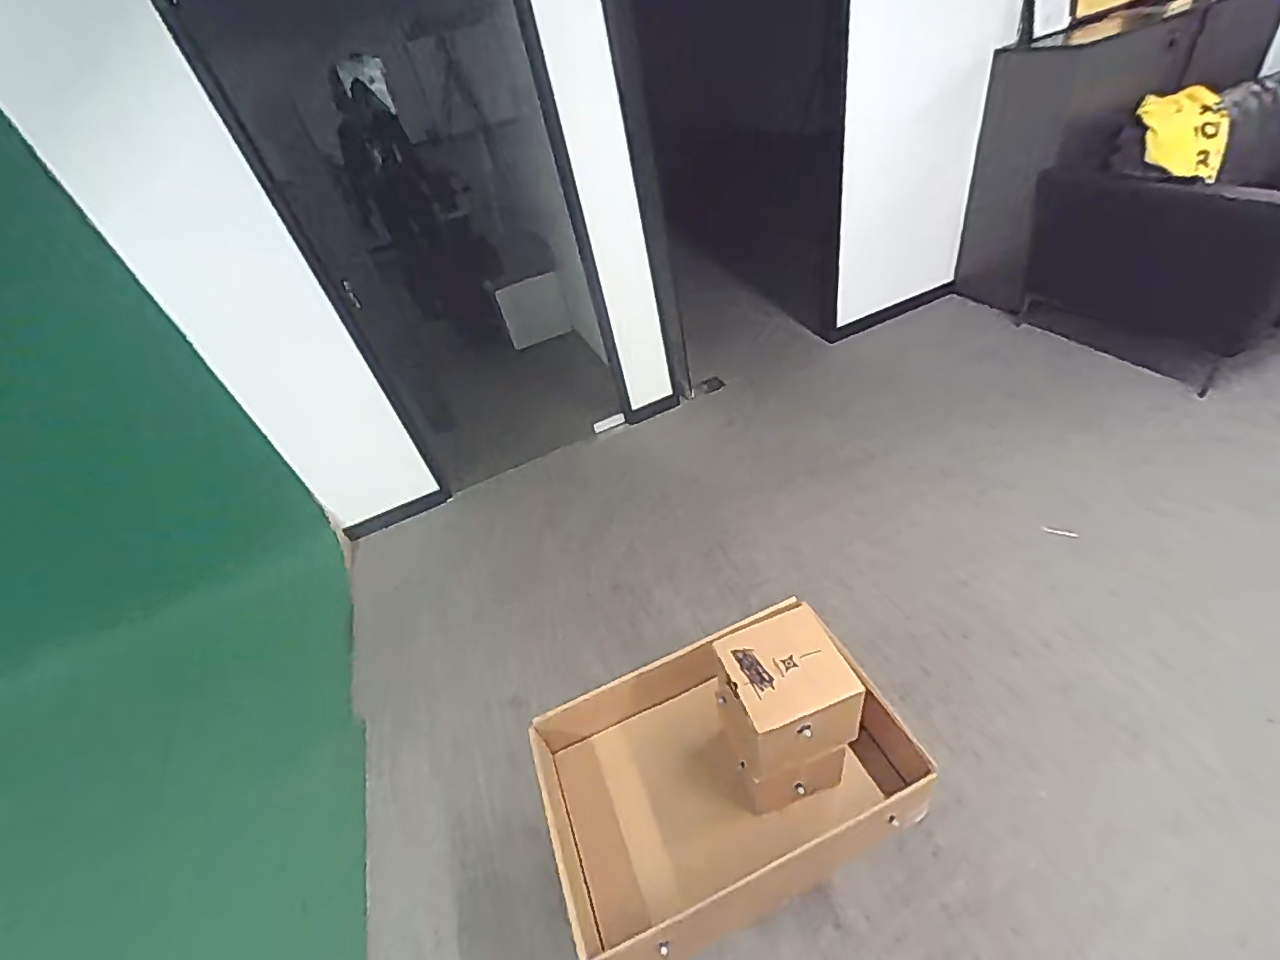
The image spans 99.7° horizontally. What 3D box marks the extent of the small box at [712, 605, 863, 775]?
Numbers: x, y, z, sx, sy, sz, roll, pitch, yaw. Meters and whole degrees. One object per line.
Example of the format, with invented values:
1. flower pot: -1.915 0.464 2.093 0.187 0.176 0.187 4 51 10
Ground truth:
1. small box: 0.235 0.341 0.876 0.179 0.176 0.168 -19 40 -7

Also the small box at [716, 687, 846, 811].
1. small box: 0.253 0.468 0.980 0.168 0.176 0.179 -19 39 -5
